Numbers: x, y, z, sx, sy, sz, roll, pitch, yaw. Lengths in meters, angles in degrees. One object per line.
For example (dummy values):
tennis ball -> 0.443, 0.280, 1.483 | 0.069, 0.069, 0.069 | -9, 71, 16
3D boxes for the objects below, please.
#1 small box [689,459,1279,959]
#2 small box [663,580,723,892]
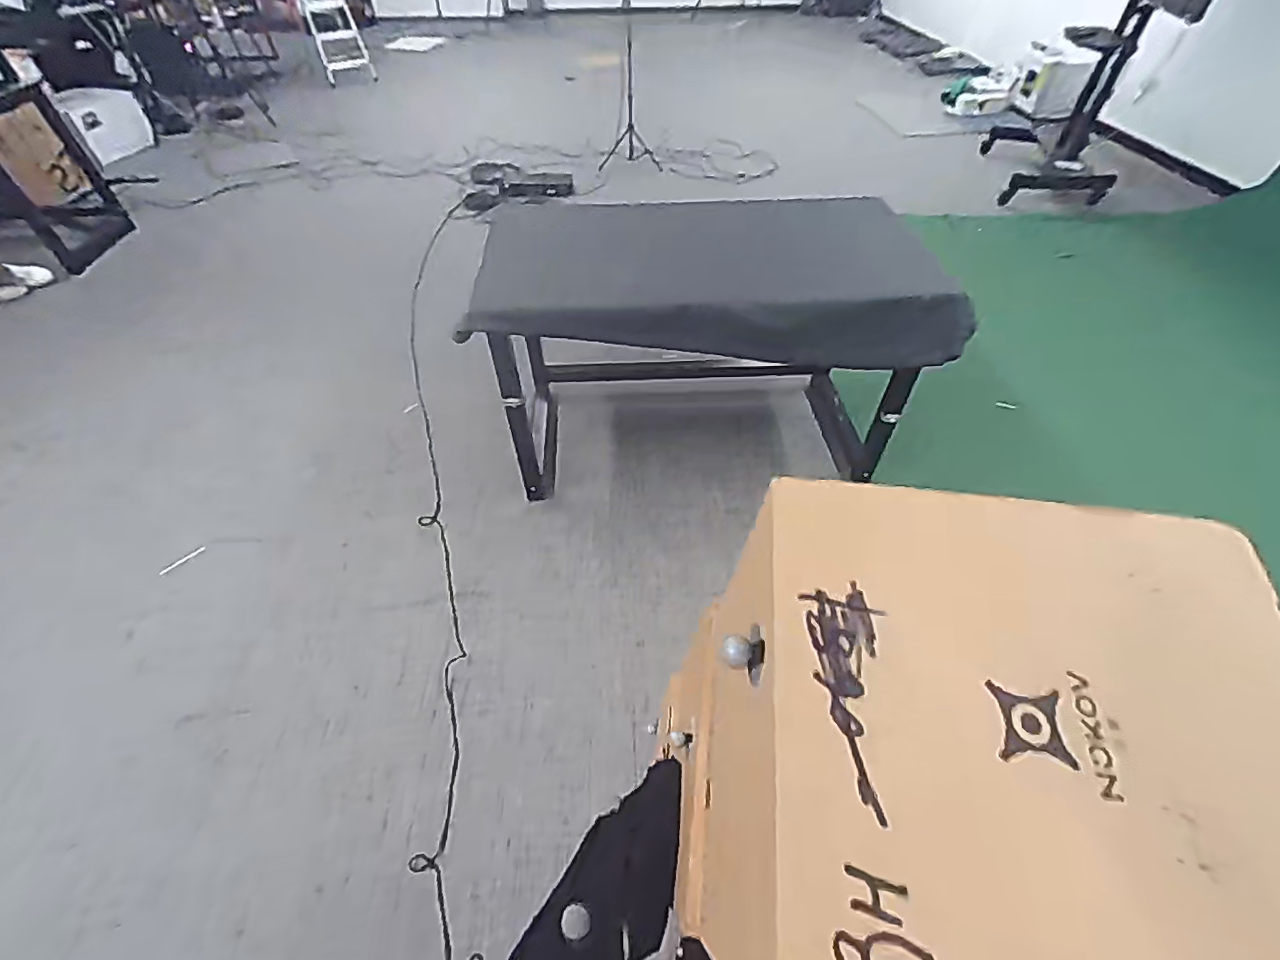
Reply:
small box -> 0.124, 0.113, 0.248 | 0.179, 0.176, 0.168 | 7, 57, 2
small box -> 0.110, 0.194, 0.389 | 0.168, 0.176, 0.179 | 8, 58, 3
